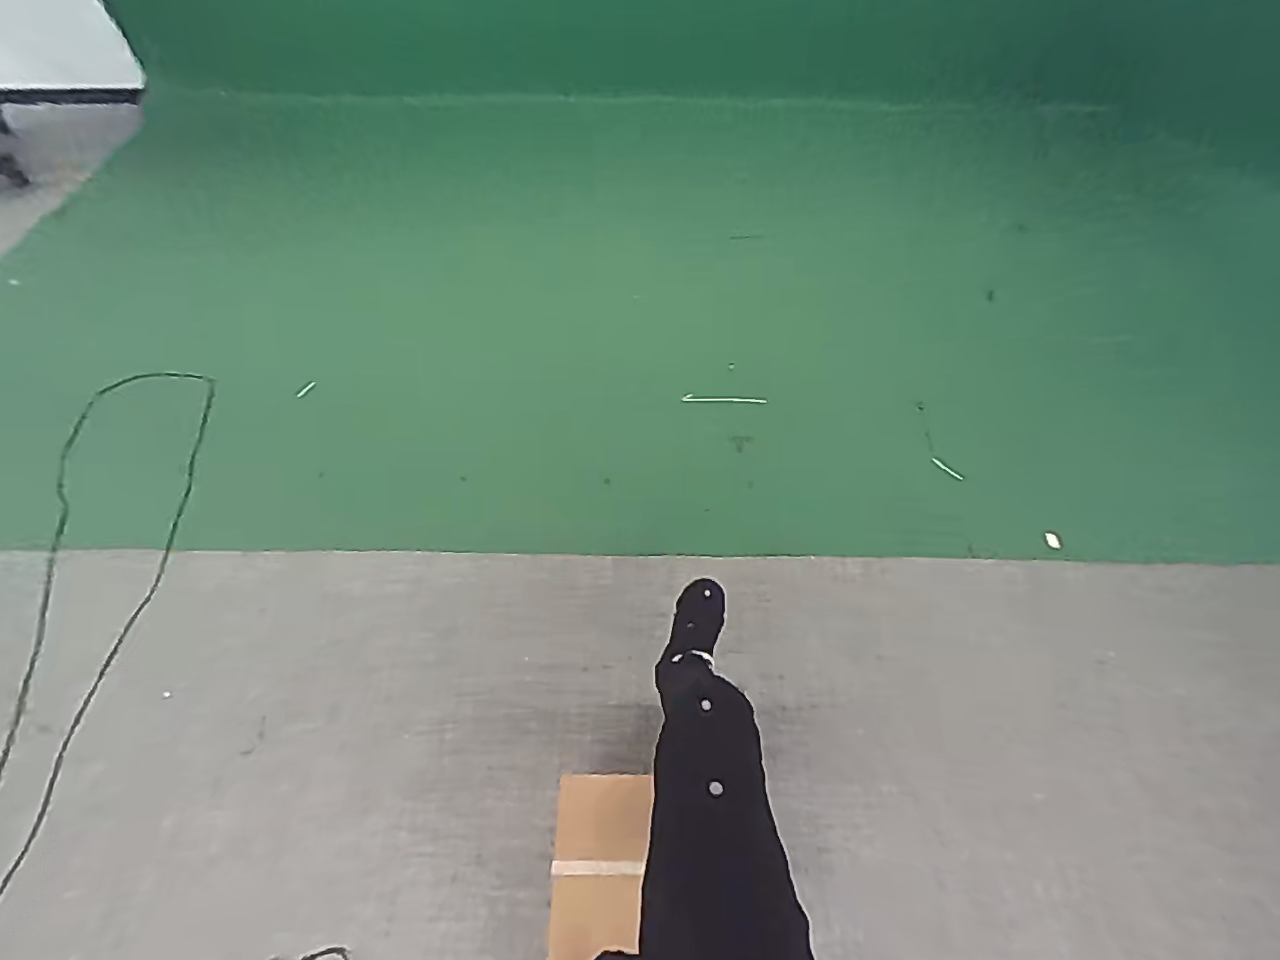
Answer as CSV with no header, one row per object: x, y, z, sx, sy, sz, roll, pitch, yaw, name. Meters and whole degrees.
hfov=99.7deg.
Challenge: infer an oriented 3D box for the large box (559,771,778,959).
0.045,0.830,1.171,0.408,0.320,0.320,-1,56,-1,large box
